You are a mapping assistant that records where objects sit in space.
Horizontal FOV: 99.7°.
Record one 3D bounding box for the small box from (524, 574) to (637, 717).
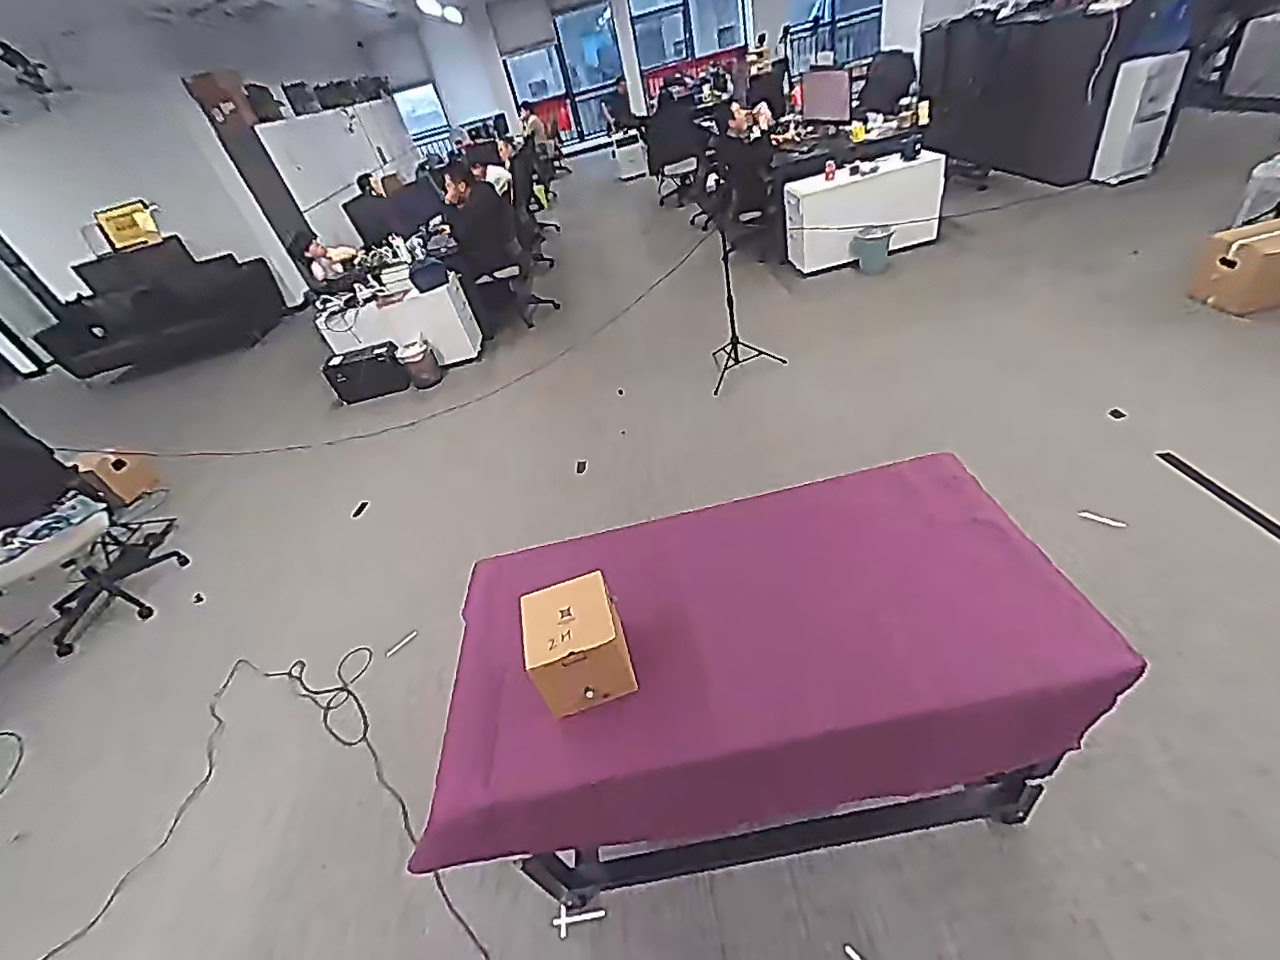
[{"bbox_3d":[-0.116,0.320,1.047,0.168,0.176,0.179,-19,38,-3],"label":"small box"}]
